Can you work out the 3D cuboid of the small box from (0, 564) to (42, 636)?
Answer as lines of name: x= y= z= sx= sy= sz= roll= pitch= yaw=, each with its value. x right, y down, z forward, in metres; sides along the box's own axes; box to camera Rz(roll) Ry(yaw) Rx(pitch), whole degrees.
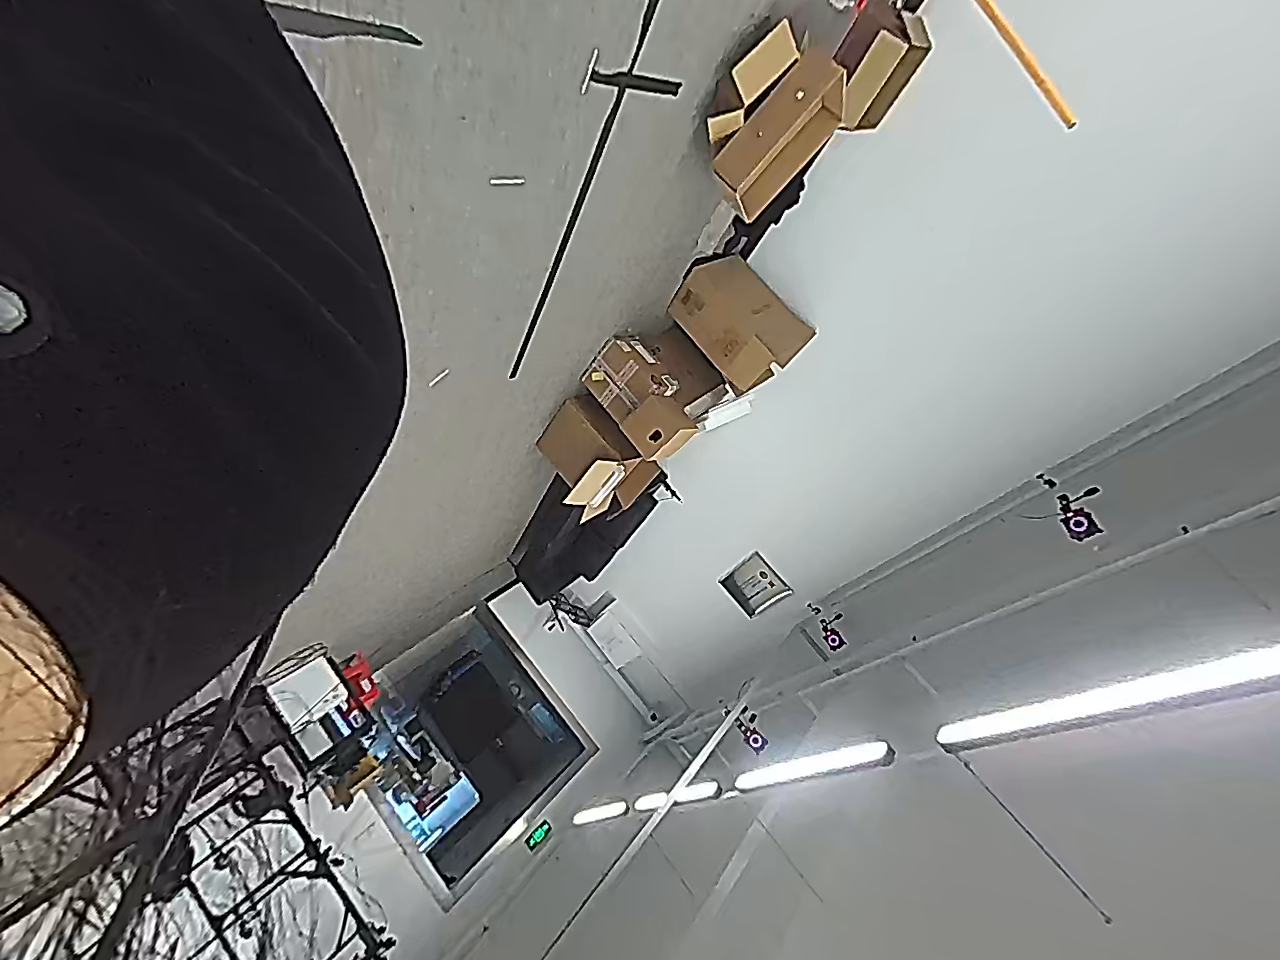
small box: x=-2.075 y=0.393 z=1.715 sx=0.168 sy=0.176 sz=0.179 roll=-33 pitch=168 yaw=-41
